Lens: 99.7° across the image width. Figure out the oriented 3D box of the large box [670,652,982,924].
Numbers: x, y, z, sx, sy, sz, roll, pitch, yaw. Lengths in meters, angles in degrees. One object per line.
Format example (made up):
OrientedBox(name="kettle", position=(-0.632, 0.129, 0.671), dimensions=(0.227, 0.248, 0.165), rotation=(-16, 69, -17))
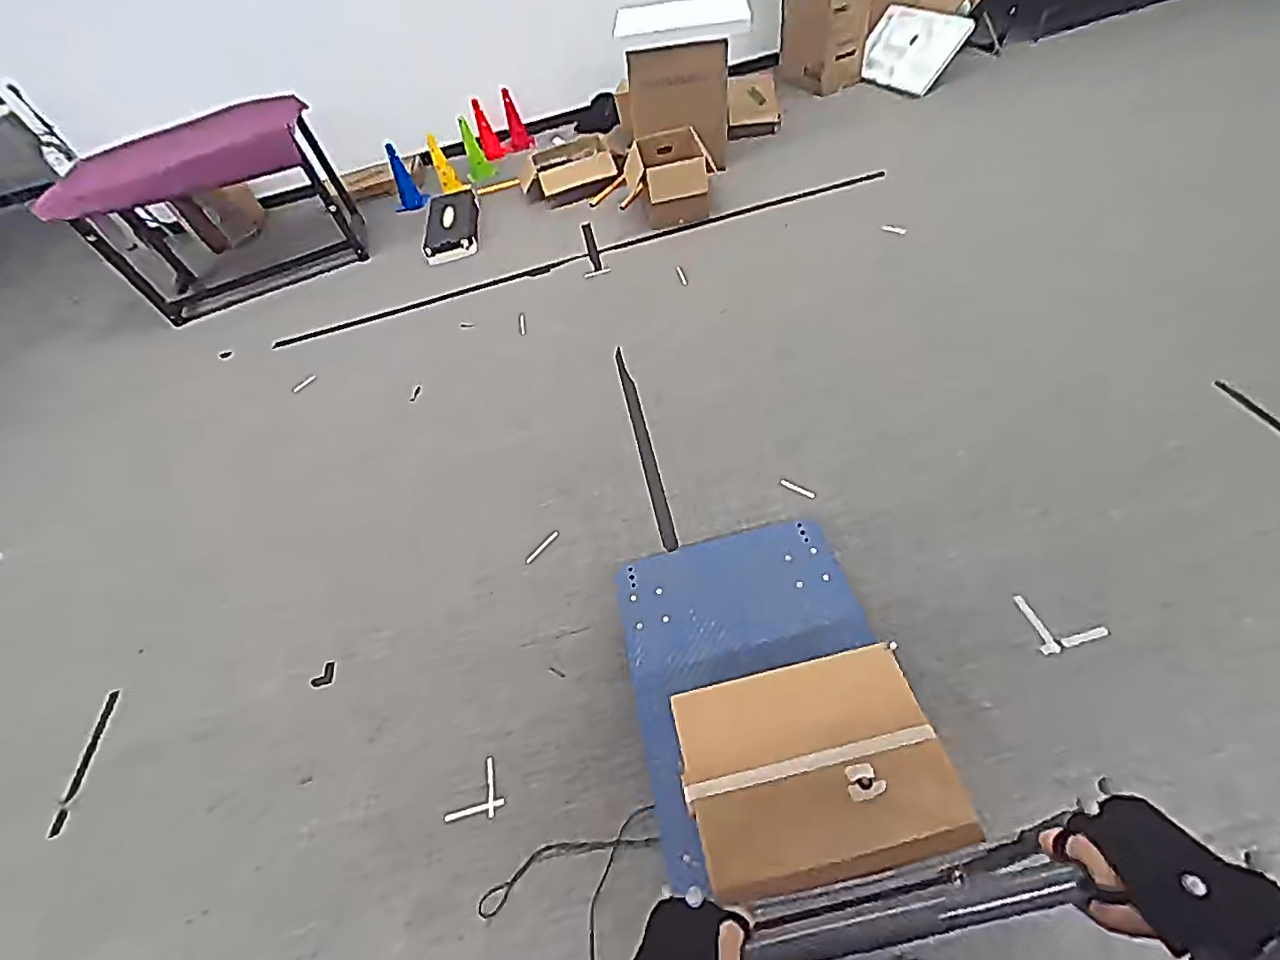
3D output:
OrientedBox(name="large box", position=(0.294, 0.561, 0.978), dimensions=(0.408, 0.320, 0.320), rotation=(-14, 50, 0))
